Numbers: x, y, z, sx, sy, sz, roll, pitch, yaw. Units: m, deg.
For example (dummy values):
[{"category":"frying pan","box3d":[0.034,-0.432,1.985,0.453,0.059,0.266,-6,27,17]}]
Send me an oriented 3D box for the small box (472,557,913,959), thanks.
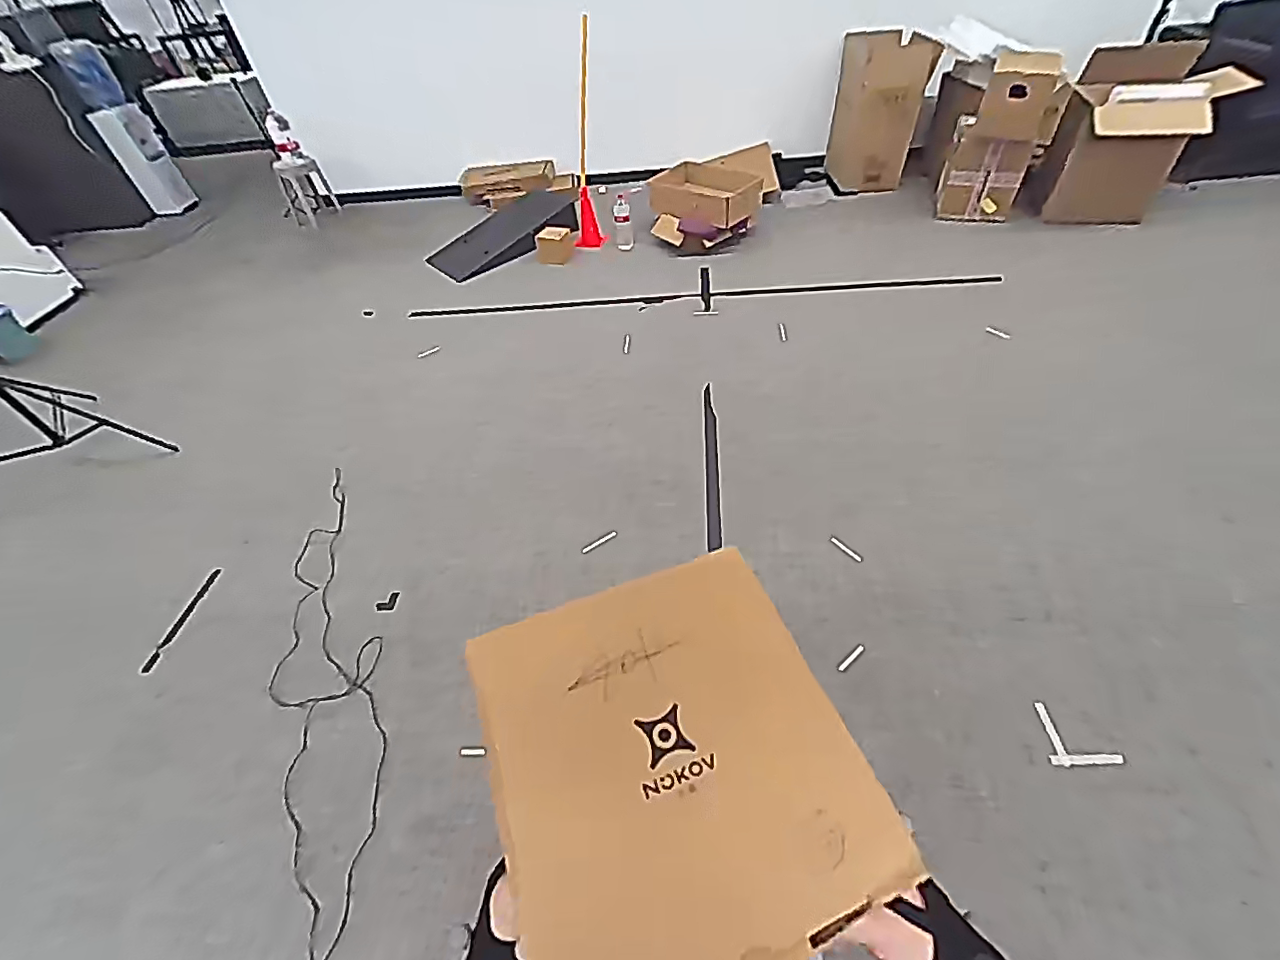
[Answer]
[{"category":"small box","box3d":[0.015,0.183,0.327,0.168,0.176,0.179,-18,51,-15]}]
